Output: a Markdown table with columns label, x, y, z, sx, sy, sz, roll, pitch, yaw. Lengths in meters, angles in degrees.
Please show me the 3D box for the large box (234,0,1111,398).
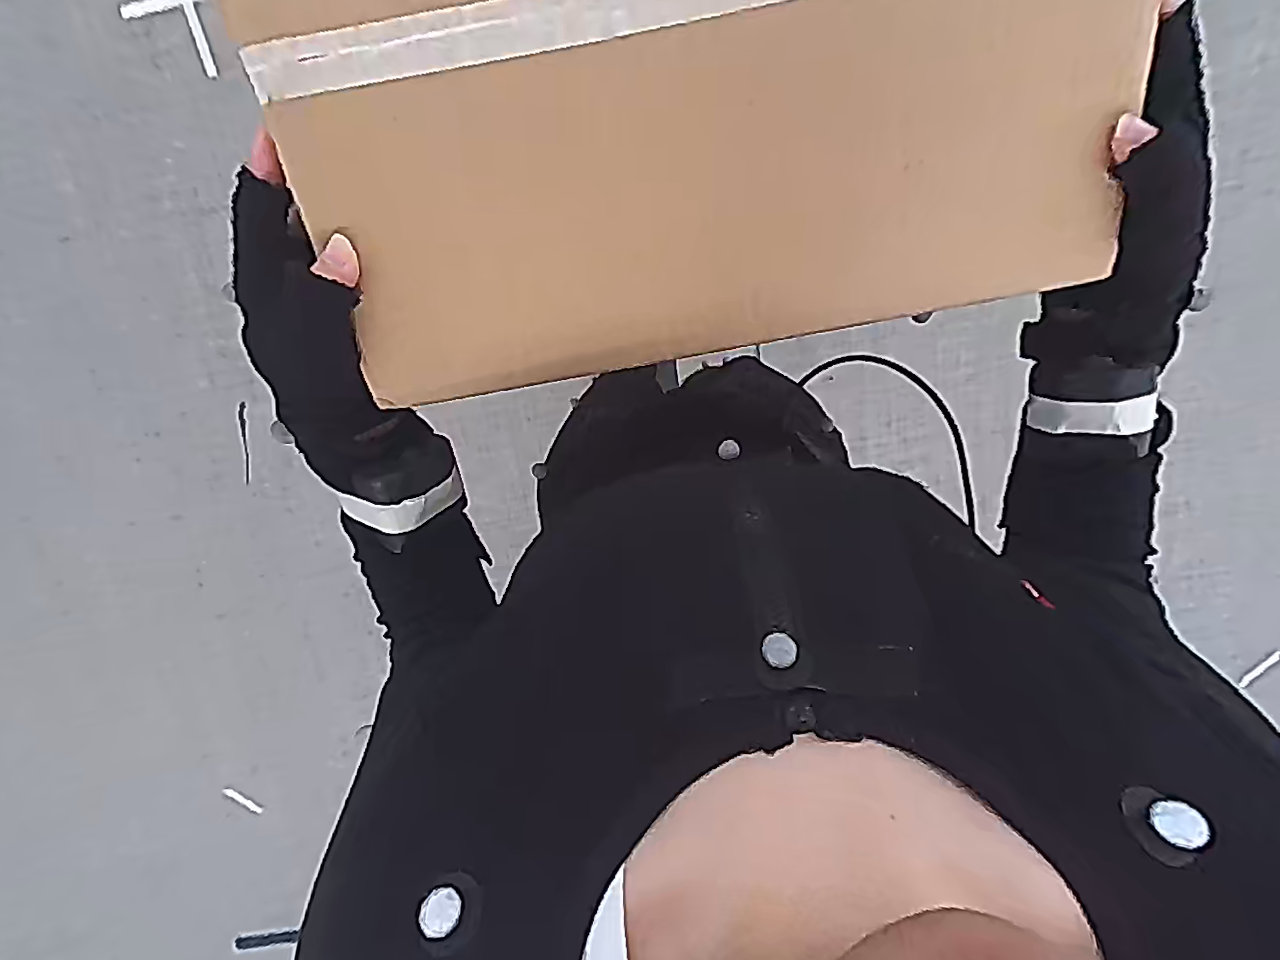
| label | x | y | z | sx | sy | sz | roll | pitch | yaw |
| --- | --- | --- | --- | --- | --- | --- | --- | --- | --- |
| large box | 0.015 | -0.280 | 0.380 | 0.408 | 0.320 | 0.320 | -10 | 113 | 1 |
